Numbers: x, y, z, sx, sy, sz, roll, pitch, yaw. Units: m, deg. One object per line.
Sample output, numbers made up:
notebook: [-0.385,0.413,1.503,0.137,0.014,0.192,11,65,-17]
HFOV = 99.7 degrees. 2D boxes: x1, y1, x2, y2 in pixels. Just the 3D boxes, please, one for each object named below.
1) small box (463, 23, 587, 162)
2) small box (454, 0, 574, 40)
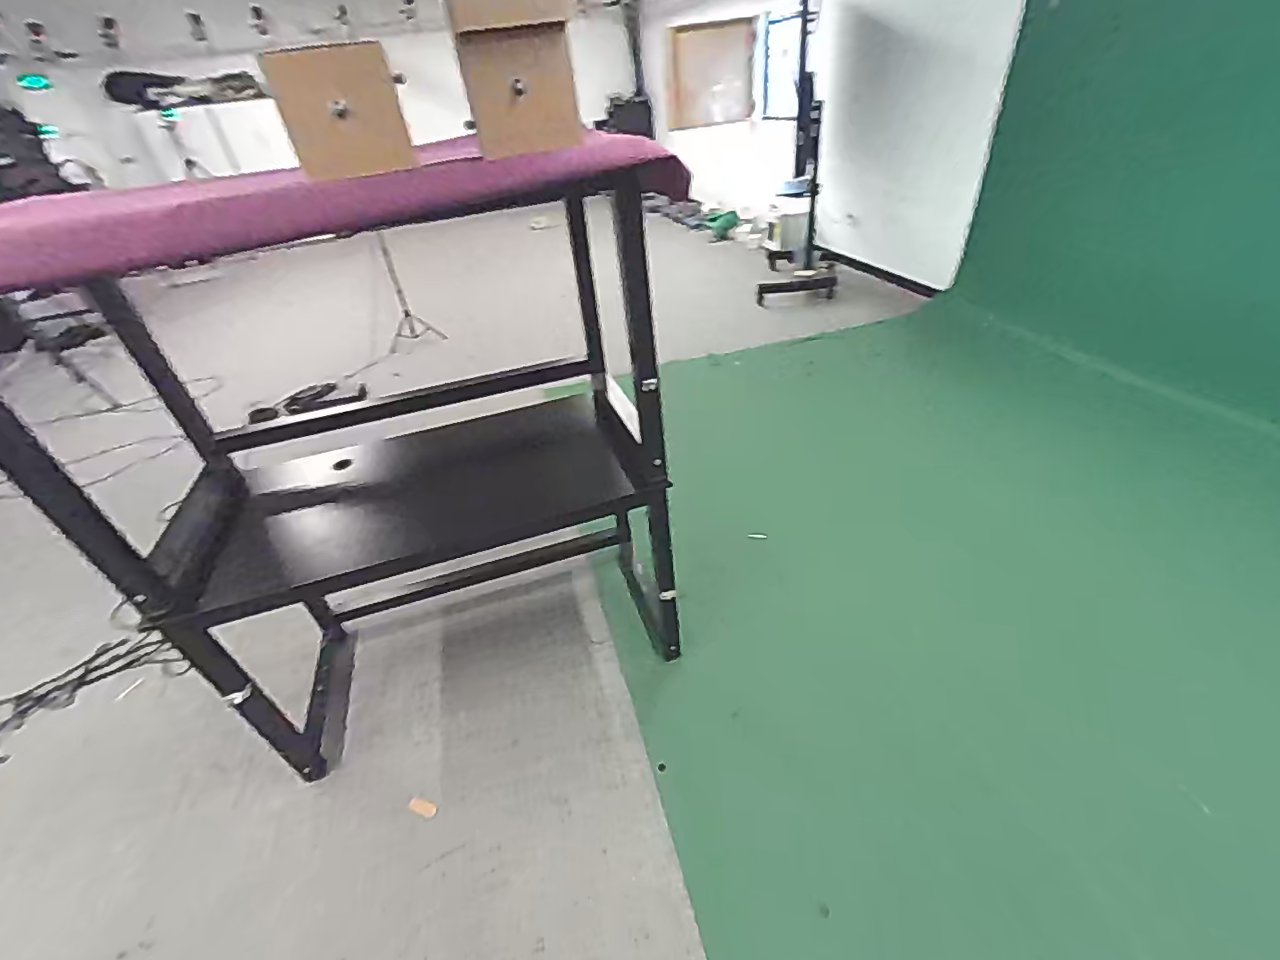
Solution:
small box: [-0.194,-0.667,0.937,0.179,0.176,0.168,-15,37,-9]
small box: [-0.204,-0.788,0.825,0.179,0.176,0.168,-15,36,-10]
